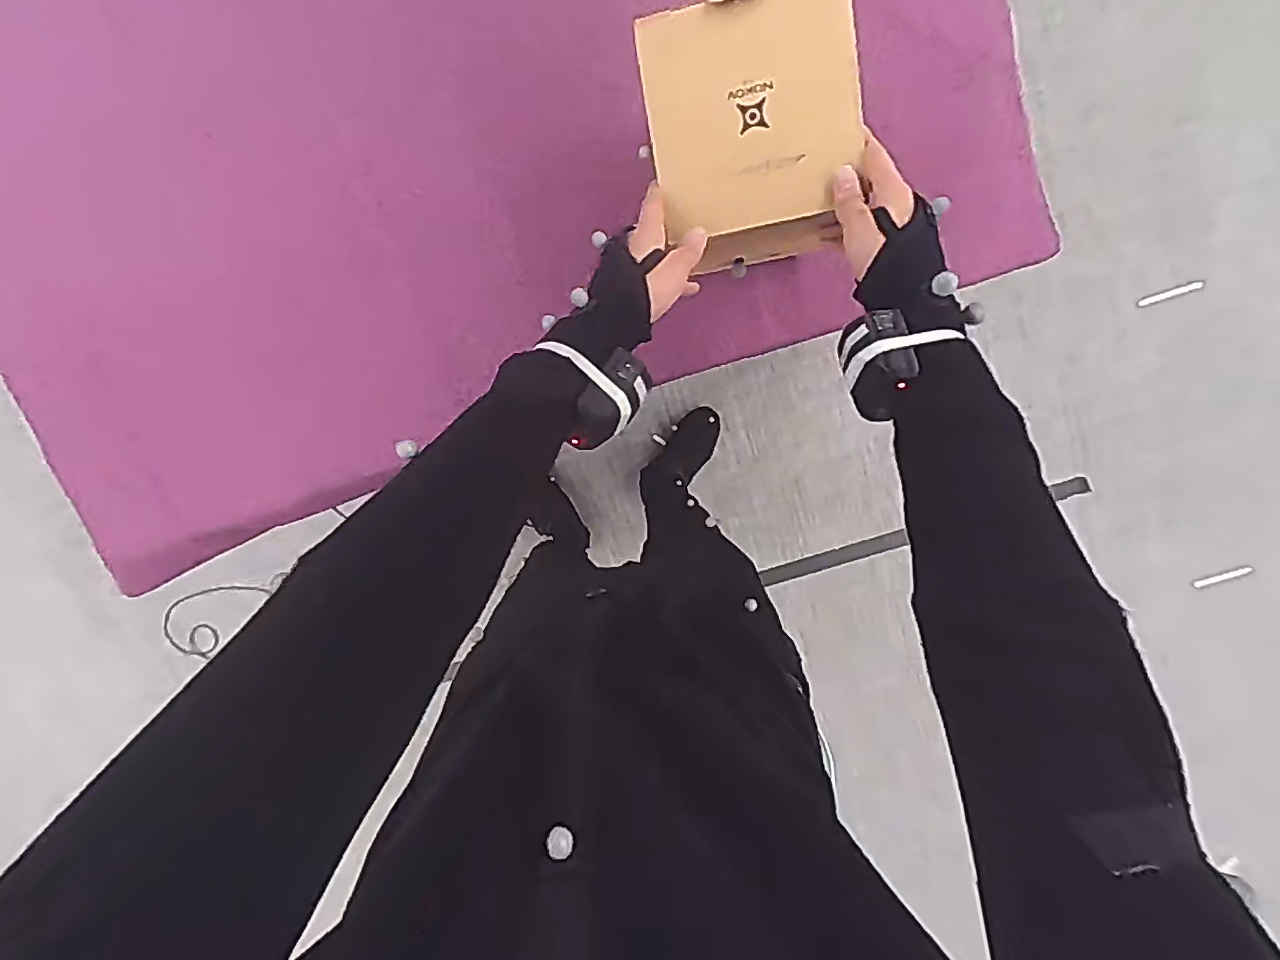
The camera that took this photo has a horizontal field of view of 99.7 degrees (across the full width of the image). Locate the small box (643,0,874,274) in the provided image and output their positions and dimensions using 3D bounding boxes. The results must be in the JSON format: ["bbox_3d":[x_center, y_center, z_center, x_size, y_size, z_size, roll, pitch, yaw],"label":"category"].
[{"bbox_3d":[0.102,-0.307,0.499,0.168,0.176,0.179,-8,100,9],"label":"small box"}]
